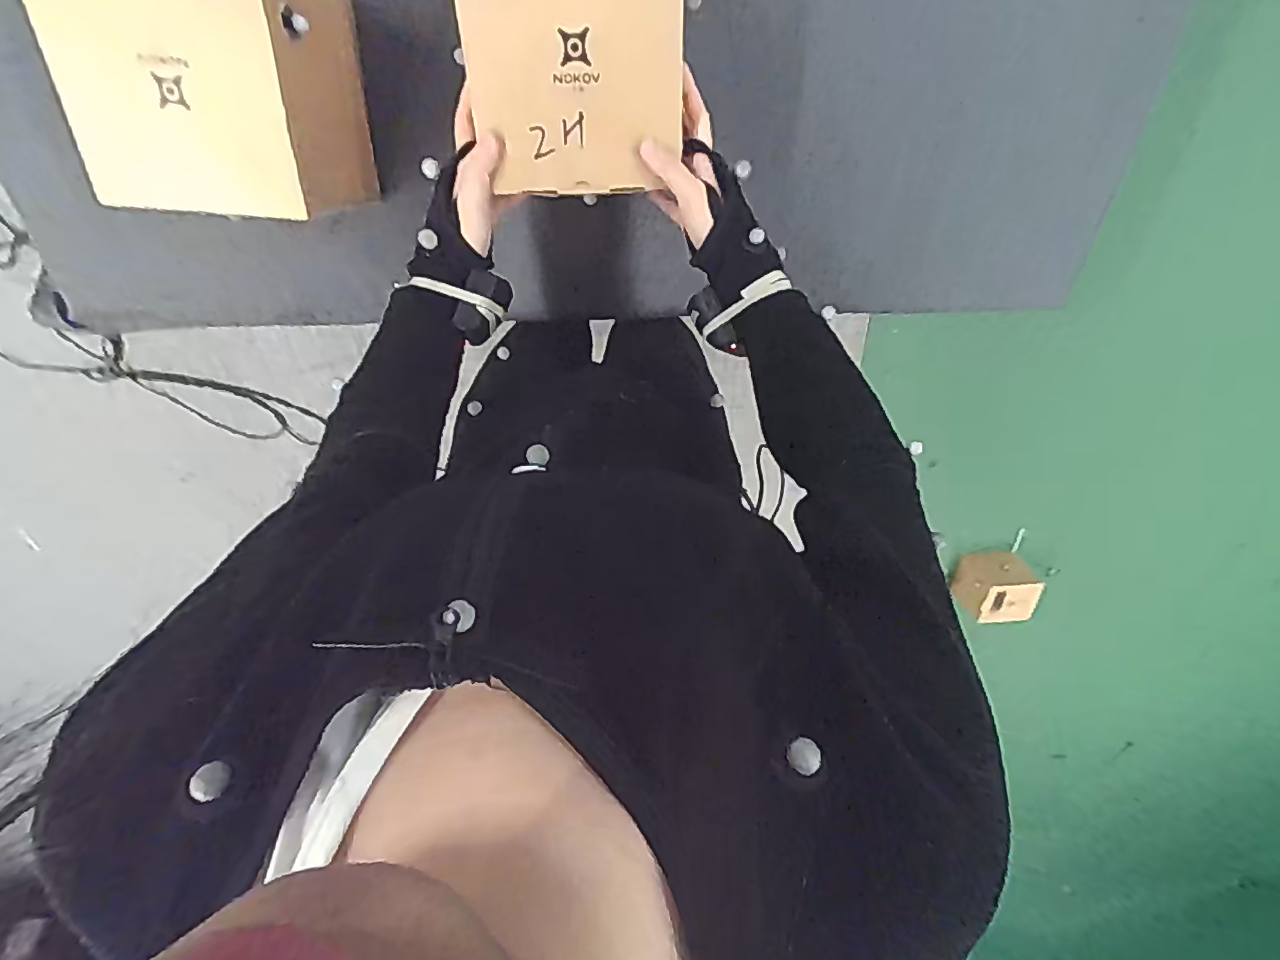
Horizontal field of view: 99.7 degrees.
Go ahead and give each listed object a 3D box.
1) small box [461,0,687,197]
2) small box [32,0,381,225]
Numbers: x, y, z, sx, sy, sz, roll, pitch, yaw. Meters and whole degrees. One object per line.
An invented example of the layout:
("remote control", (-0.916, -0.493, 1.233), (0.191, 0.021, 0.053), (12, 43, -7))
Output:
("small box", (-0.050, -0.355, 0.479), (0.168, 0.176, 0.179), (-2, 121, 0))
("small box", (-0.351, -0.335, 0.478), (0.168, 0.176, 0.179), (2, 120, -4))
